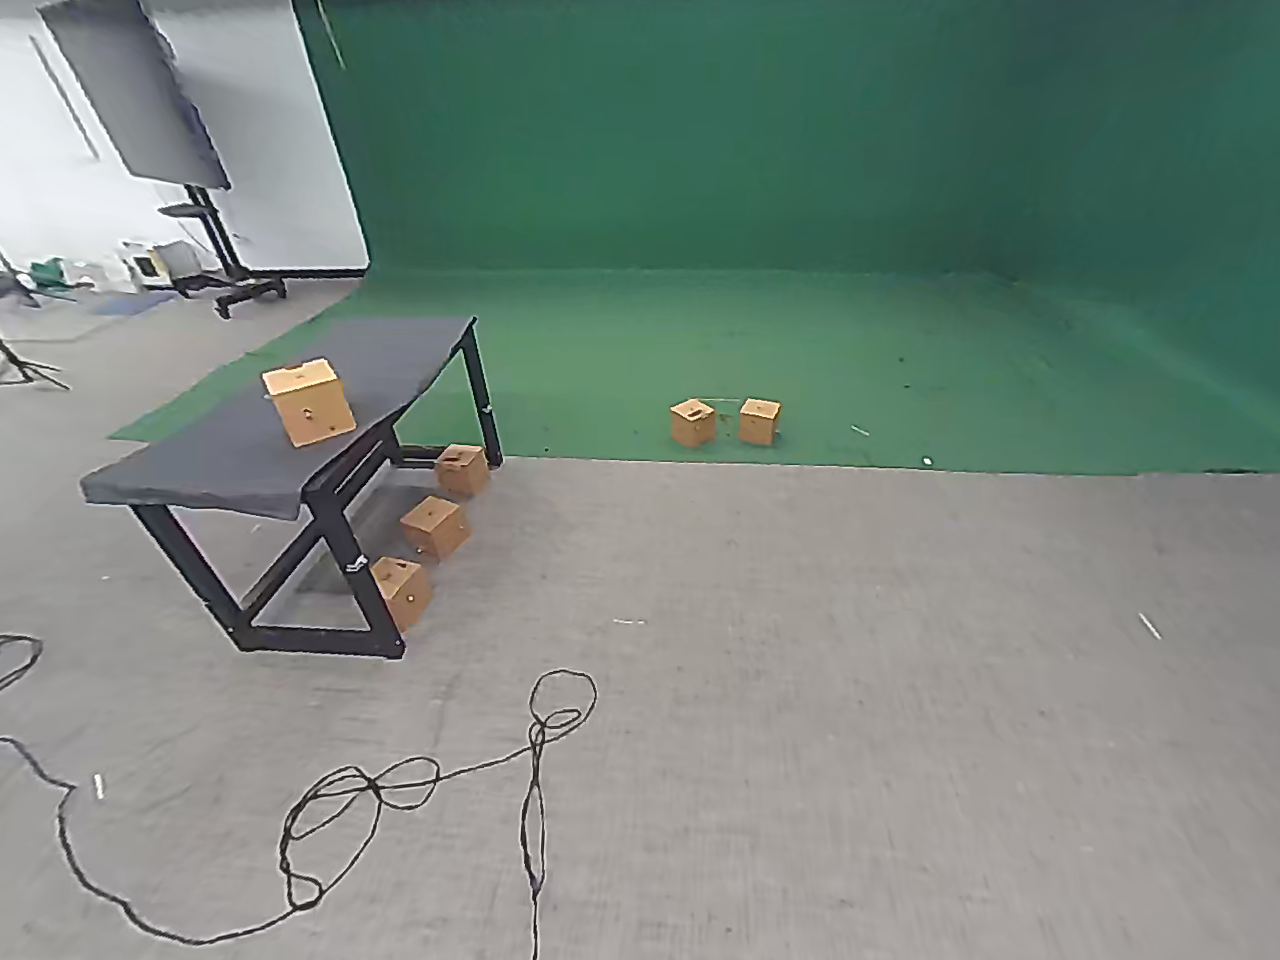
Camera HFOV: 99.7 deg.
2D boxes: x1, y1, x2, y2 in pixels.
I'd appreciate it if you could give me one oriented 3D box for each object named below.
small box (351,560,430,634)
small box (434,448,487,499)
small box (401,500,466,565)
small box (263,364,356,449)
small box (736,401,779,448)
[{"bbox_3d":[-0.876,0.418,1.923,0.168,0.176,0.179,9,39,15],"label":"small box"},{"bbox_3d":[-0.831,-0.030,2.526,0.168,0.176,0.179,5,36,9],"label":"small box"},{"bbox_3d":[-0.831,0.212,2.199,0.168,0.176,0.179,14,41,22],"label":"small box"},{"bbox_3d":[-0.940,-0.207,1.548,0.168,0.176,0.179,-25,42,-28],"label":"small box"},{"bbox_3d":[0.604,-0.285,2.798,0.179,0.176,0.168,14,40,20],"label":"small box"}]
